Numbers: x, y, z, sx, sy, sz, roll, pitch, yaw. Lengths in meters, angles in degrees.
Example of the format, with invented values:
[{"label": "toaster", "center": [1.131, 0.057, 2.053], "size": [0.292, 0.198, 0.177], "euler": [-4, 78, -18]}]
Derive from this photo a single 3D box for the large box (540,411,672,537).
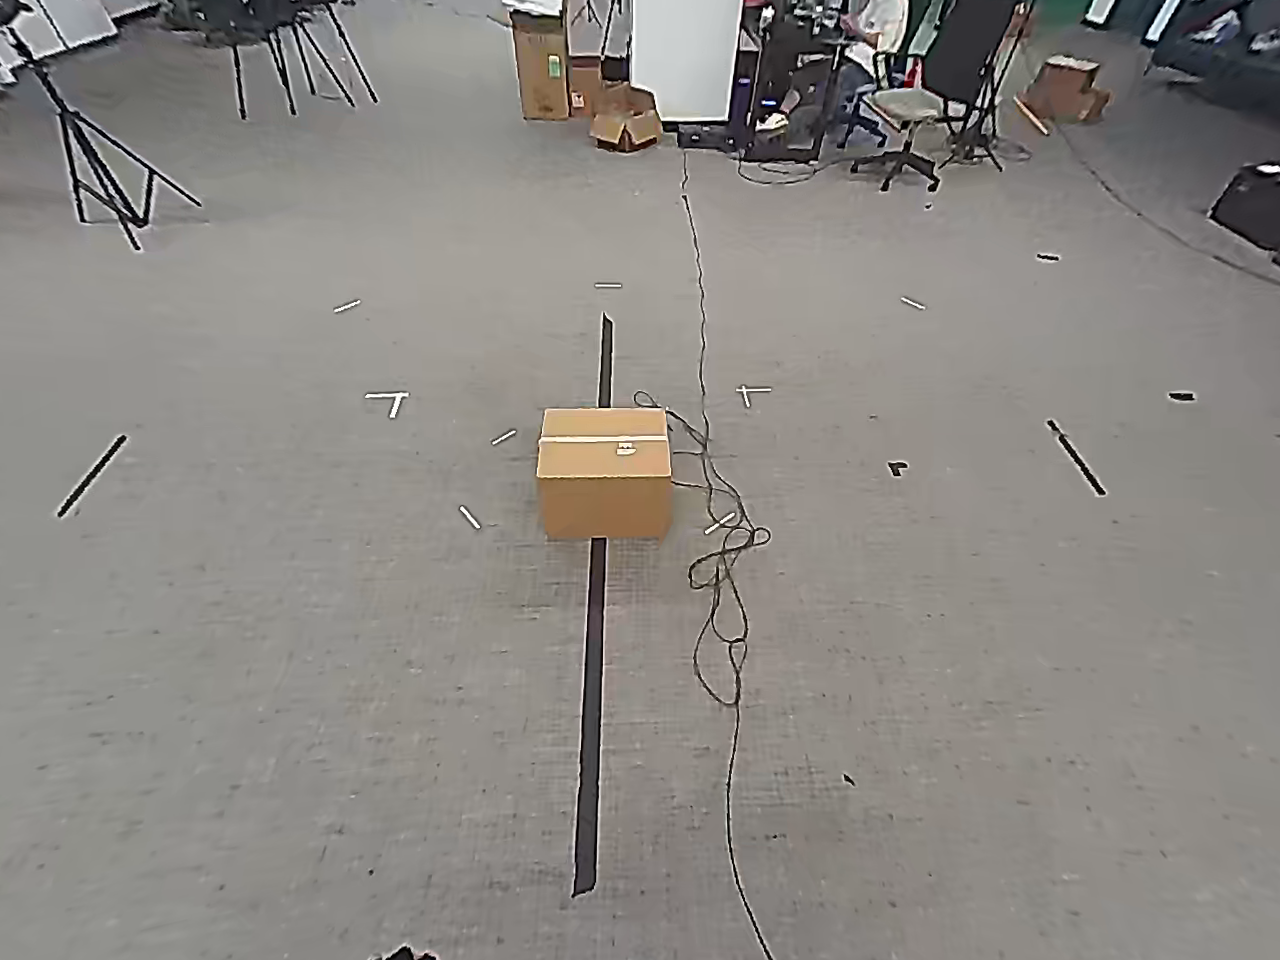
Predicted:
[{"label": "large box", "center": [-0.112, -0.018, 1.819], "size": [0.408, 0.320, 0.320], "euler": [0, 48, -2]}]
